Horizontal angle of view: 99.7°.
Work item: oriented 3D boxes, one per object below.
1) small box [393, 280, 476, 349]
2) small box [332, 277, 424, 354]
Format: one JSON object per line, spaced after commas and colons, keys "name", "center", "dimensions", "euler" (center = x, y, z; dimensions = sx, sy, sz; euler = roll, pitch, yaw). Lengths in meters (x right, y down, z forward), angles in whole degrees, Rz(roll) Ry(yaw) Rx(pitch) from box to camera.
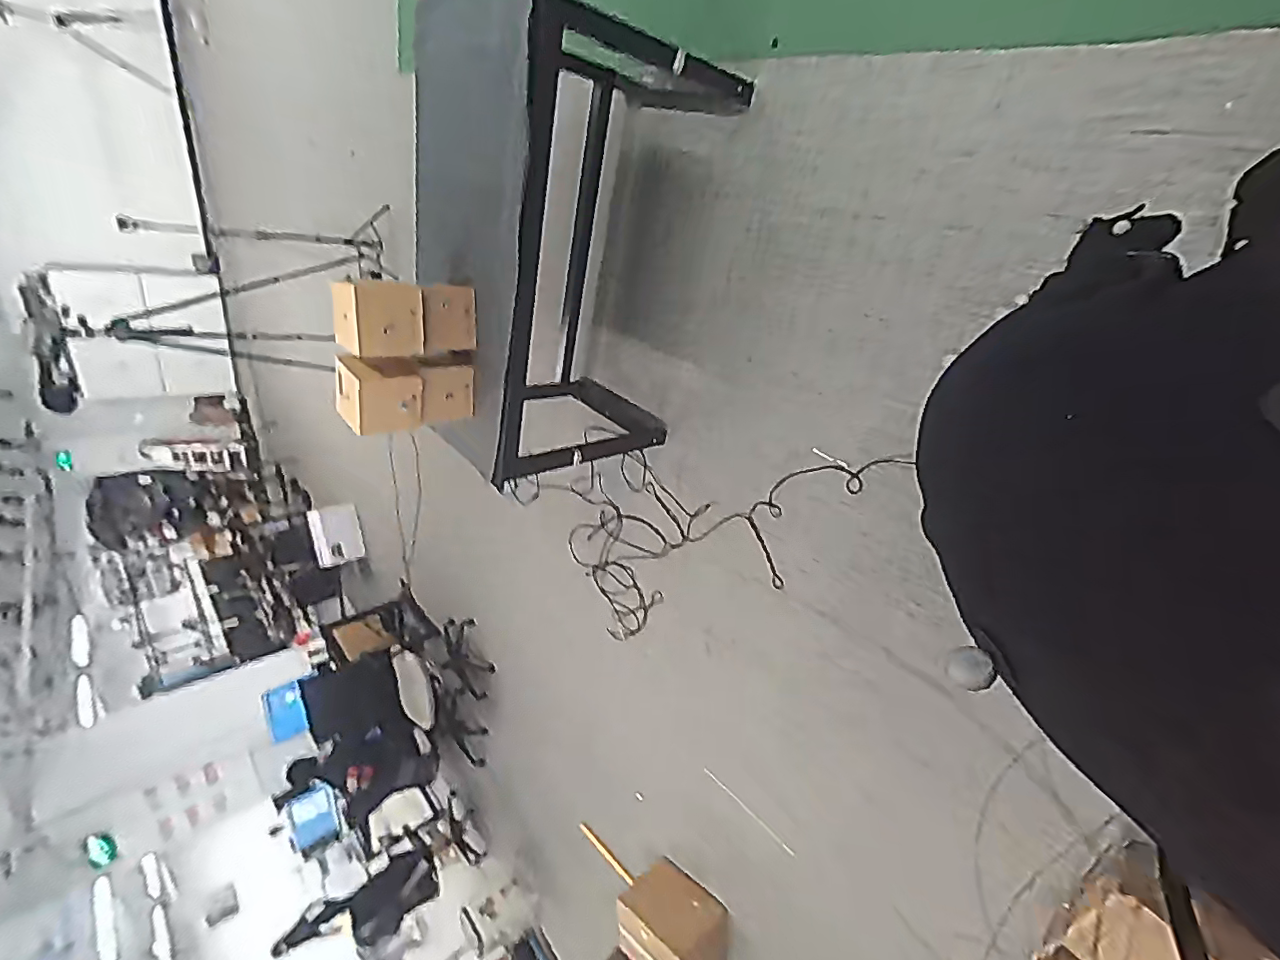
{"name": "small box", "center": [-0.577, -0.468, 1.526], "dimensions": [0.179, 0.176, 0.168], "euler": [24, 117, 41]}
{"name": "small box", "center": [-0.673, -0.427, 1.400], "dimensions": [0.179, 0.176, 0.168], "euler": [27, 119, 40]}
